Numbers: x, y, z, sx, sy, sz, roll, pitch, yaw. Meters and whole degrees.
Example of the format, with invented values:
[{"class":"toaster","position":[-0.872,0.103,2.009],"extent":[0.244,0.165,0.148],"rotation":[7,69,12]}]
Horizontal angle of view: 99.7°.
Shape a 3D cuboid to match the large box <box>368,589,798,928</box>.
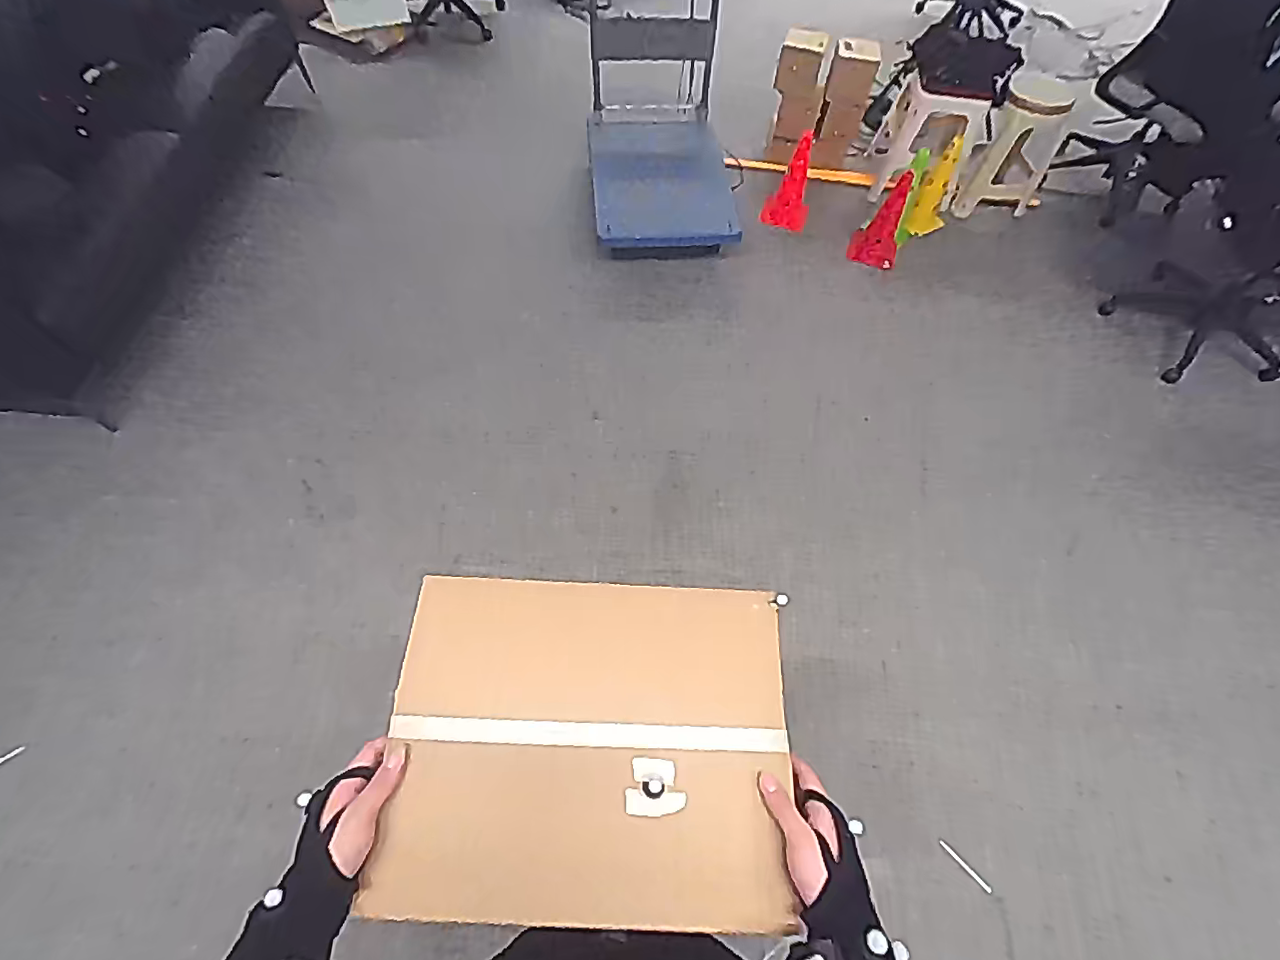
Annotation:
[{"class":"large box","position":[-0.055,0.339,0.693],"extent":[0.408,0.320,0.320],"rotation":[3,63,-1]}]
